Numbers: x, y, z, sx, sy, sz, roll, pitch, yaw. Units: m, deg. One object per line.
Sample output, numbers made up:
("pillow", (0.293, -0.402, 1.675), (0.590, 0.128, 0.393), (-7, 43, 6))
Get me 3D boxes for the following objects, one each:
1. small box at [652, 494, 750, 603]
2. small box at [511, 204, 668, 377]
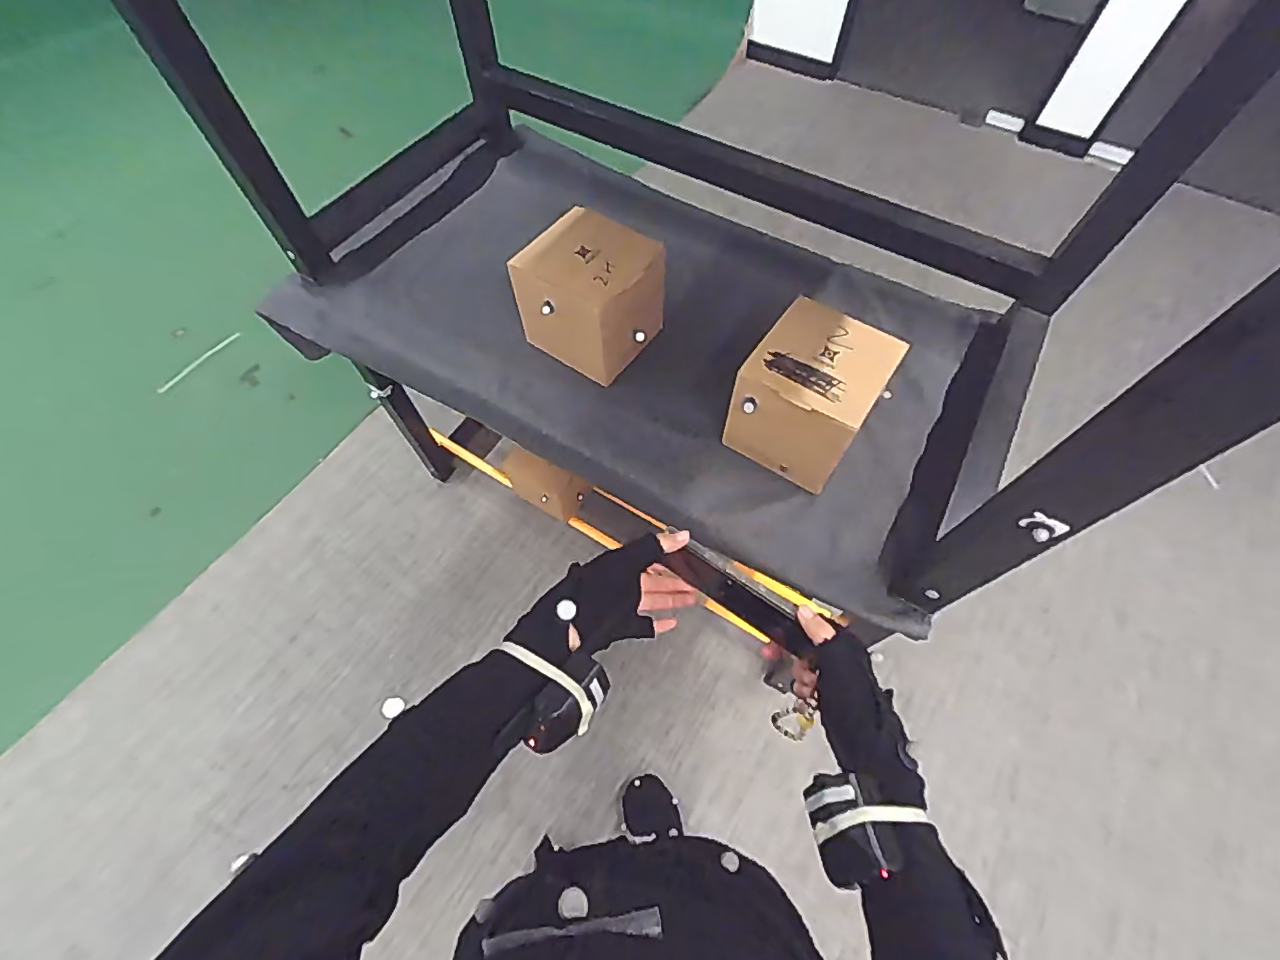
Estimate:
("small box", (0.144, 0.172, 1.316), (0.168, 0.176, 0.179), (32, 67, 16))
("small box", (-0.074, -0.296, 0.862), (0.179, 0.176, 0.168), (32, 66, 17))
